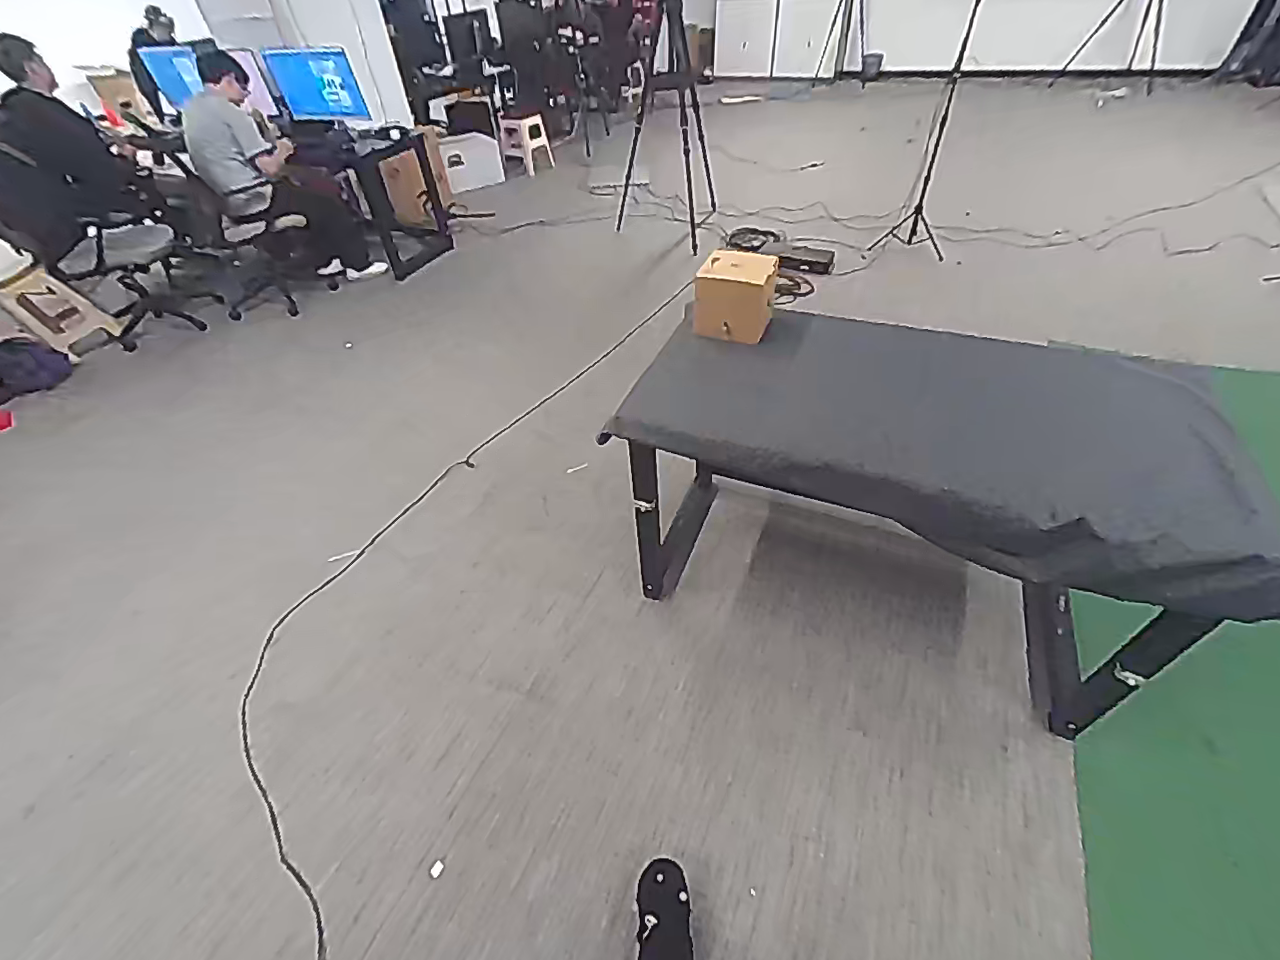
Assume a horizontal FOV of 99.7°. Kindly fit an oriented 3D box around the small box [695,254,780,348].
[{"bbox_3d":[0.254,-0.470,1.426,0.179,0.176,0.168,16,48,18],"label":"small box"}]
